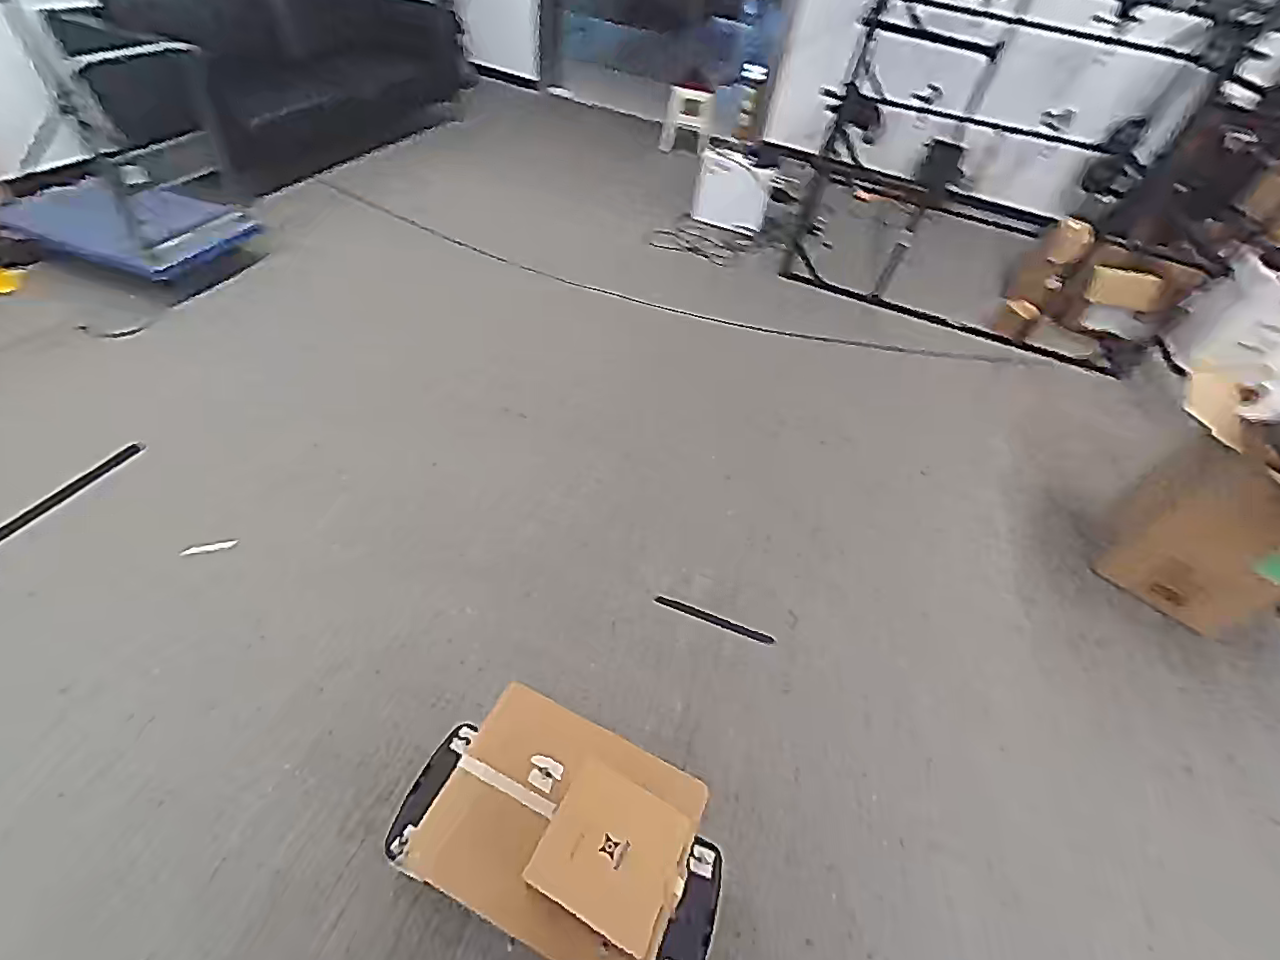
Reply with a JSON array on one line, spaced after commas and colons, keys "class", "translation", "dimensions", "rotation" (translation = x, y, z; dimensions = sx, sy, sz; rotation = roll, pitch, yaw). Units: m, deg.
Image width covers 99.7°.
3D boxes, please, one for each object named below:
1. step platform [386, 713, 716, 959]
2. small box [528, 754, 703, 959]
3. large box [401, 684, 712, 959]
[{"class": "step platform", "translation": [-0.187, 0.795, 1.146], "dimensions": [0.684, 0.204, 0.286], "rotation": [25, 49, 14]}, {"class": "small box", "translation": [-0.037, 0.526, 0.758], "dimensions": [0.179, 0.176, 0.168], "rotation": [26, 50, 14]}, {"class": "large box", "translation": [-0.131, 0.644, 0.968], "dimensions": [0.408, 0.320, 0.320], "rotation": [23, 48, 12]}]
